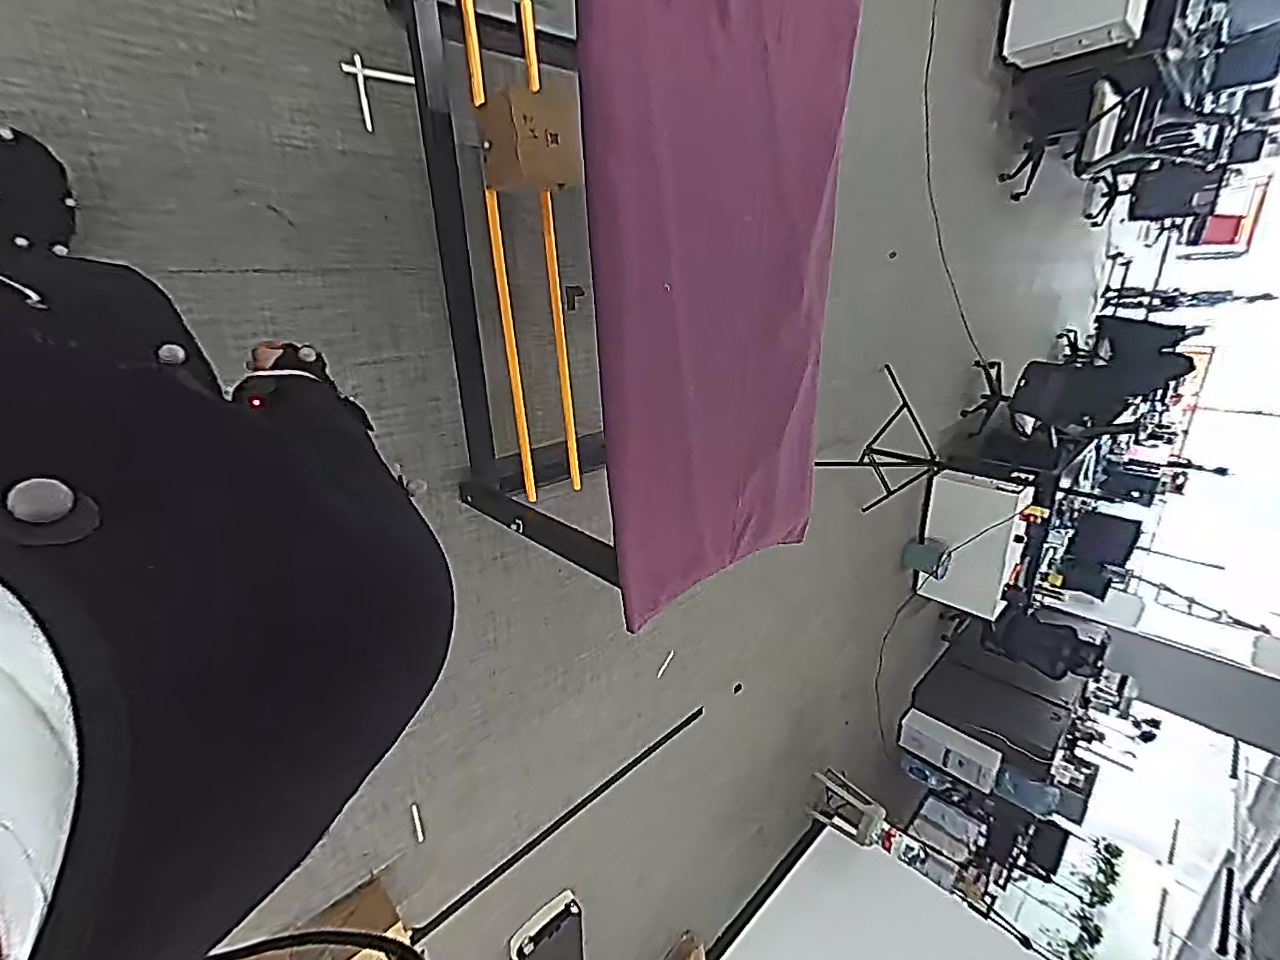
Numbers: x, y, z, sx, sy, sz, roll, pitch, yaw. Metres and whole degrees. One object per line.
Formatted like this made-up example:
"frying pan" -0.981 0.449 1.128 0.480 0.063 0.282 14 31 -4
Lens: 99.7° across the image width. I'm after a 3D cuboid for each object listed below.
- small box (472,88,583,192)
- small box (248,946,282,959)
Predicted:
"small box" -0.252 -0.754 1.219 0.179 0.176 0.168 -21 117 -36
"small box" -0.972 1.342 1.353 0.168 0.176 0.179 -16 113 -40
